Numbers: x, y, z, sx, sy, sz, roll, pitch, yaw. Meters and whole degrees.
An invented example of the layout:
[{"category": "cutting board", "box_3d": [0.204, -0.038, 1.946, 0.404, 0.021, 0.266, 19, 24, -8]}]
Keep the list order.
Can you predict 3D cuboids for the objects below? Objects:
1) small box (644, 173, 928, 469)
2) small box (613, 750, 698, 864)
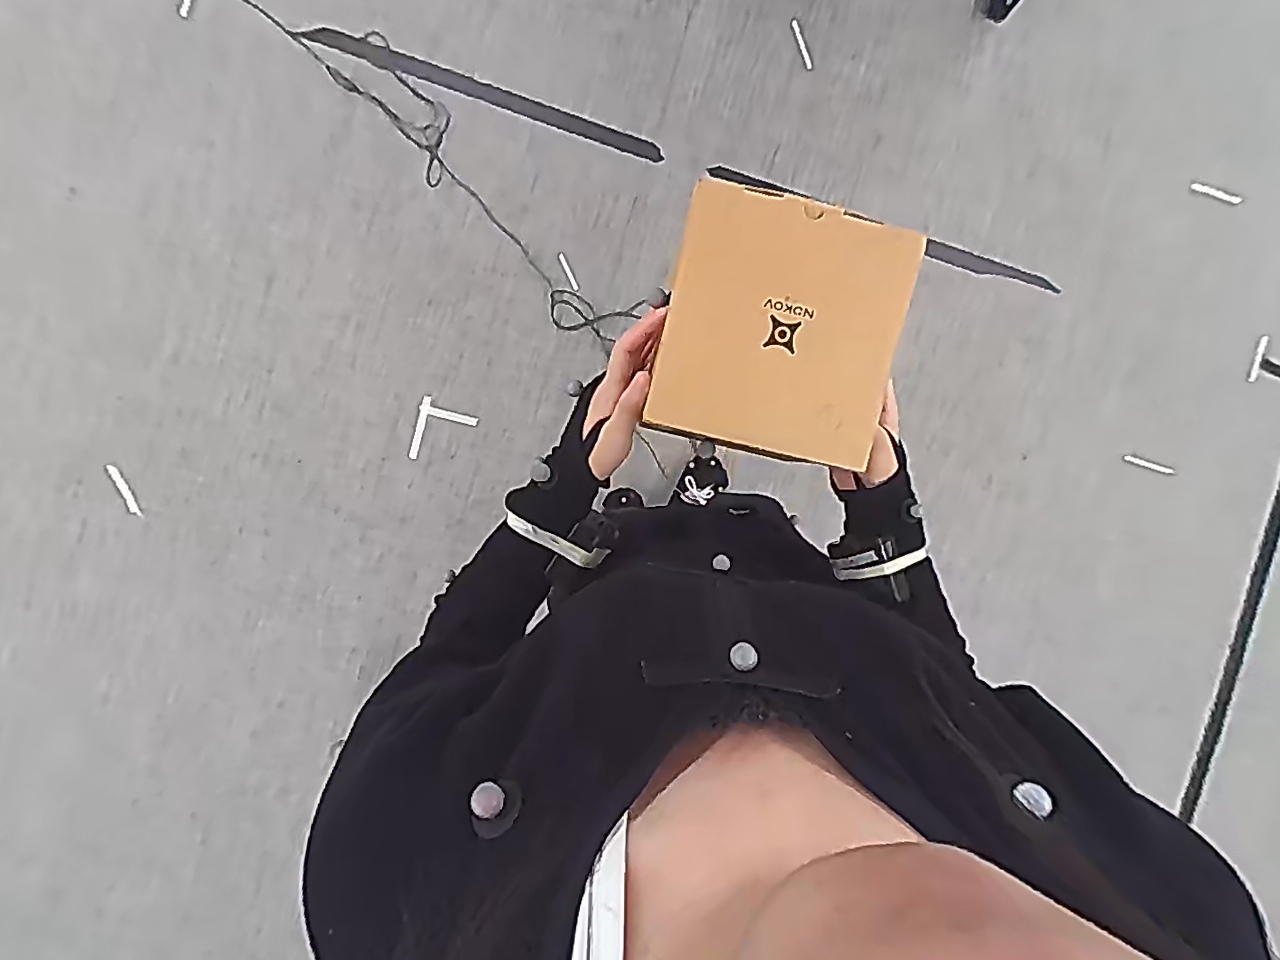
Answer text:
[{"category": "small box", "box_3d": [0.101, -0.114, 0.457, 0.168, 0.176, 0.179, 13, 93, -3]}, {"category": "small box", "box_3d": [0.032, 0.761, 1.272, 0.179, 0.176, 0.168, 6, 90, -2]}]
